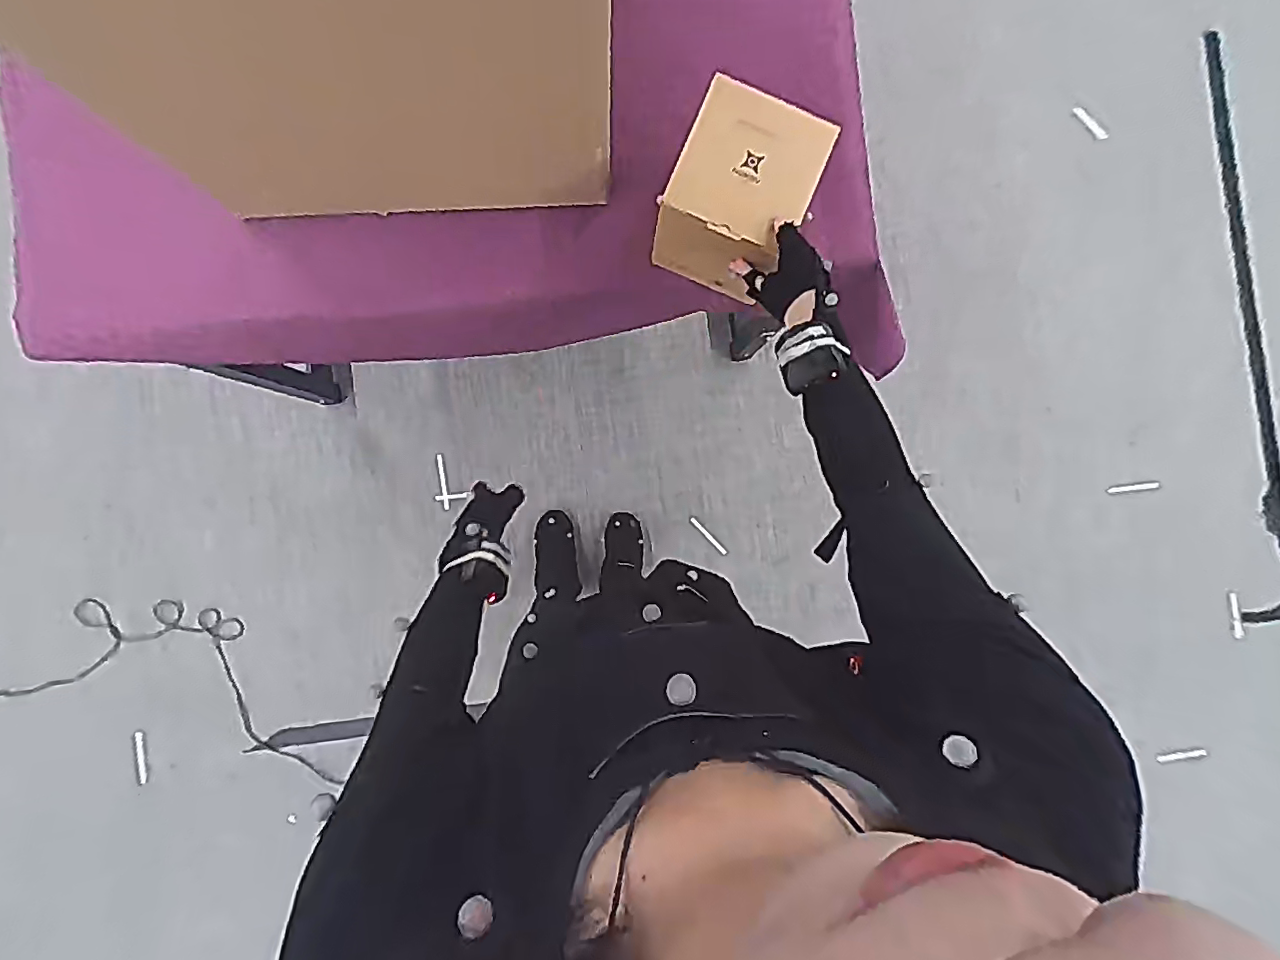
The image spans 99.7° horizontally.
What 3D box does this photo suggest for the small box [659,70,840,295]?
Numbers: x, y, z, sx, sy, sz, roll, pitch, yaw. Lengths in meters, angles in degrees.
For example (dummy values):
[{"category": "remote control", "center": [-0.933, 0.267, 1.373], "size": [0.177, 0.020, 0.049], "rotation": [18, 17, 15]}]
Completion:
[{"category": "small box", "center": [0.131, -0.376, 0.721], "size": [0.168, 0.176, 0.179], "rotation": [22, 87, -3]}]
